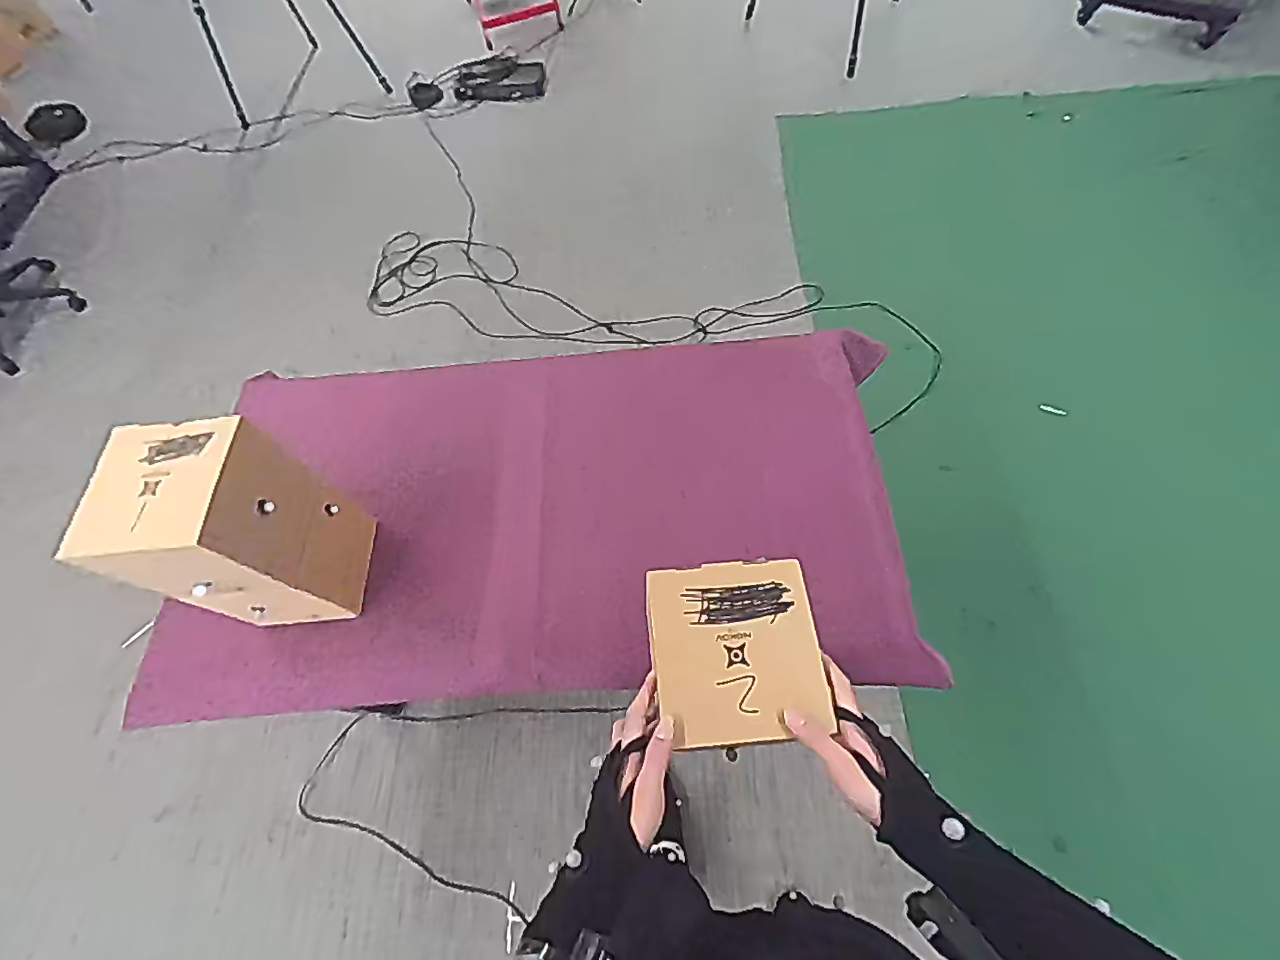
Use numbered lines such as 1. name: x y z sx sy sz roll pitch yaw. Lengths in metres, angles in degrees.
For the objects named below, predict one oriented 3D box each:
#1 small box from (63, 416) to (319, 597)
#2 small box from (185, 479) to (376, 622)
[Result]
1. small box: -0.554 0.040 0.702 0.168 0.176 0.179 -5 63 3
2. small box: -0.541 0.118 0.846 0.168 0.176 0.179 -5 61 3
